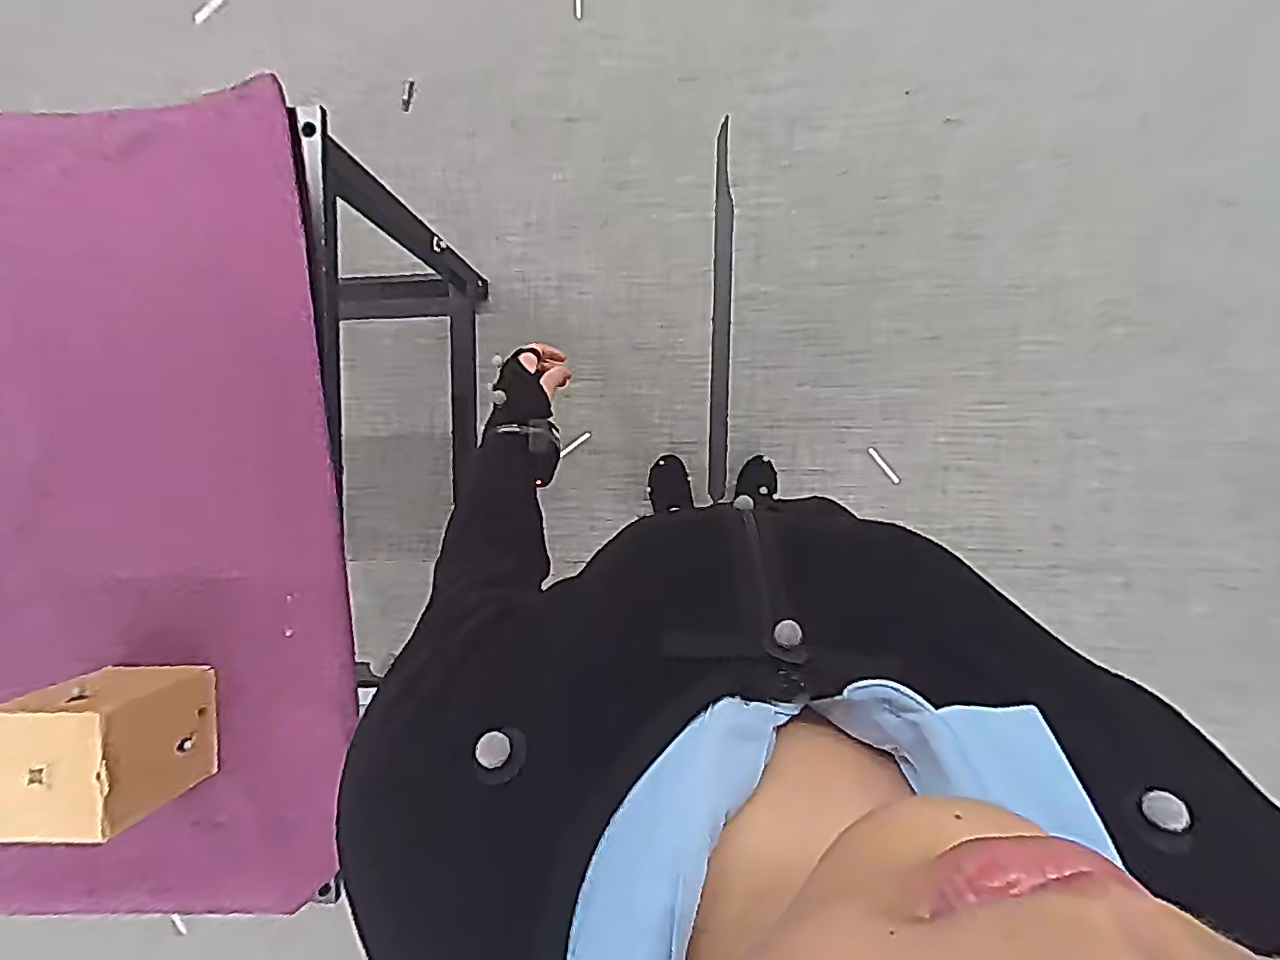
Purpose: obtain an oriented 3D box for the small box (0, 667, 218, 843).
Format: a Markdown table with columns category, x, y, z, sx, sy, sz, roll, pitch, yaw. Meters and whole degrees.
| category | x | y | z | sx | sy | sz | roll | pitch | yaw |
| --- | --- | --- | --- | --- | --- | --- | --- | --- | --- |
| small box | -0.745 | 0.372 | 0.759 | 0.179 | 0.176 | 0.168 | -2 | 90 | 3 |
